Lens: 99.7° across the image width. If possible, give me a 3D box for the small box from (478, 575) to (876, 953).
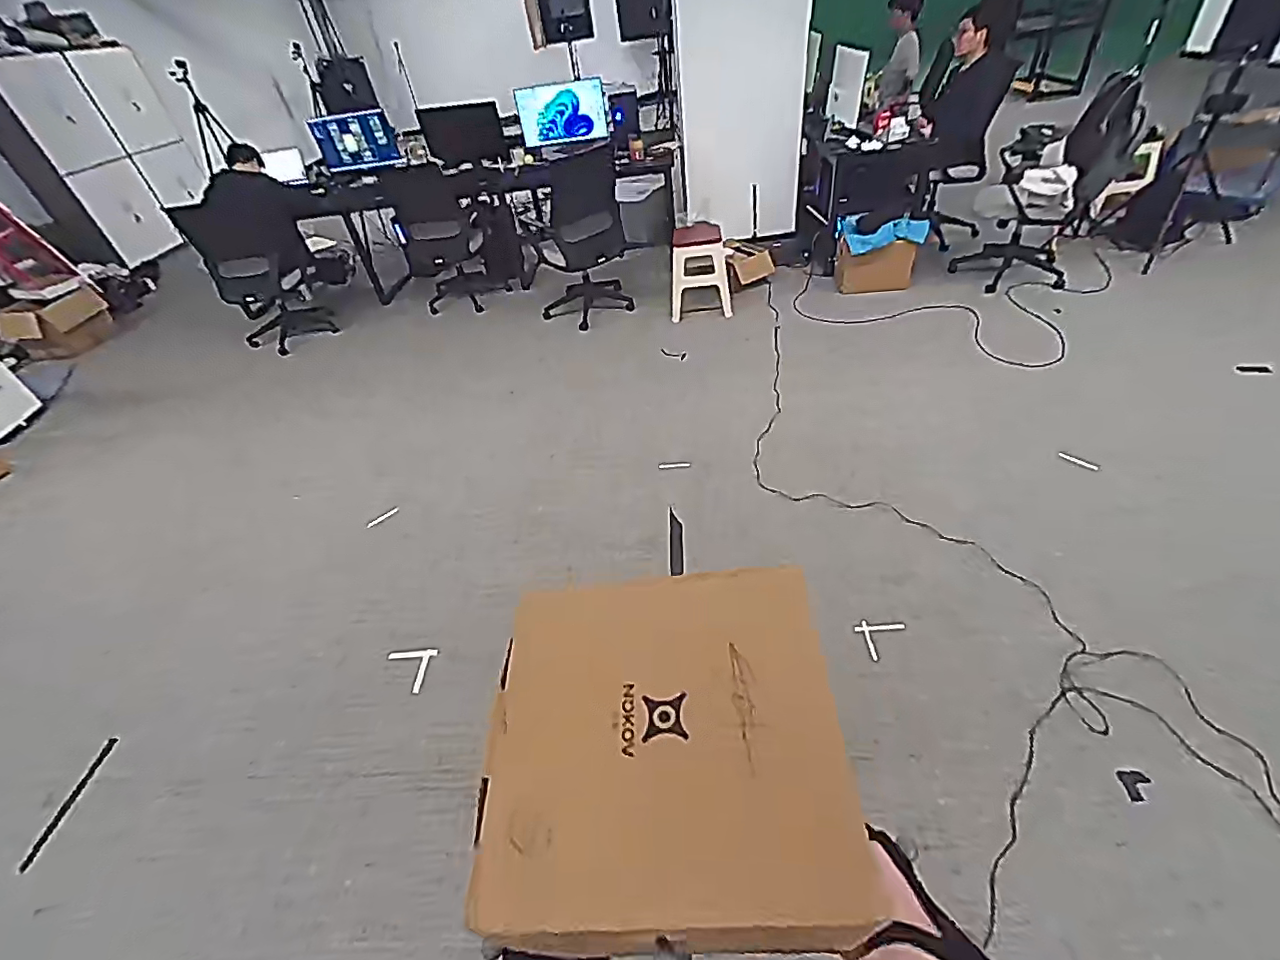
[{"bbox_3d":[0.026,0.182,0.339,0.179,0.176,0.168,-7,46,6],"label":"small box"}]
